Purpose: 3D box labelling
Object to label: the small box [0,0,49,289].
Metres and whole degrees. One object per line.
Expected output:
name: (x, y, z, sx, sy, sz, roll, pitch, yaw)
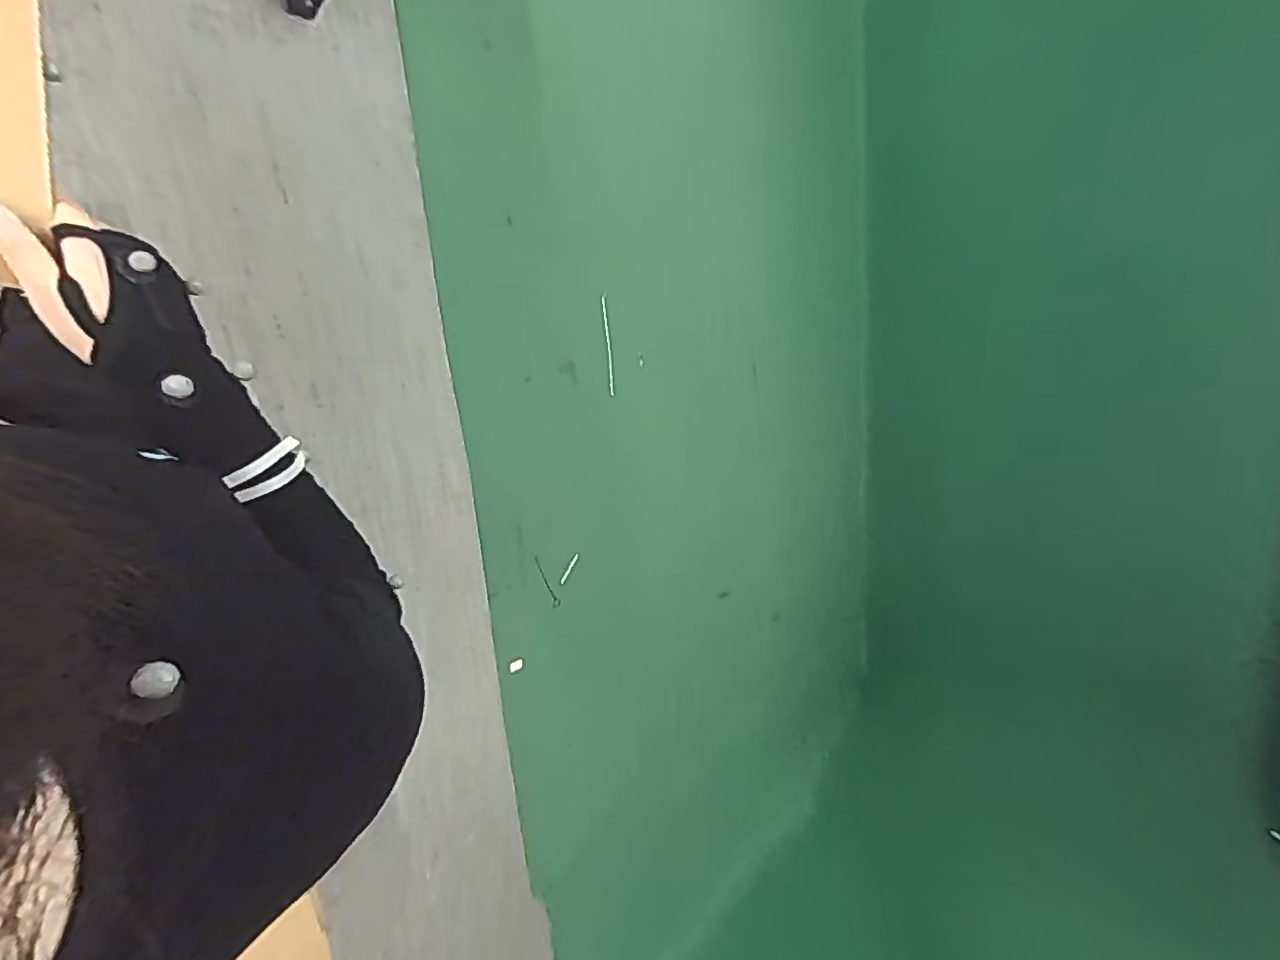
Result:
small box: (-0.463, -0.211, 0.290, 0.168, 0.176, 0.179, -12, 112, -58)
